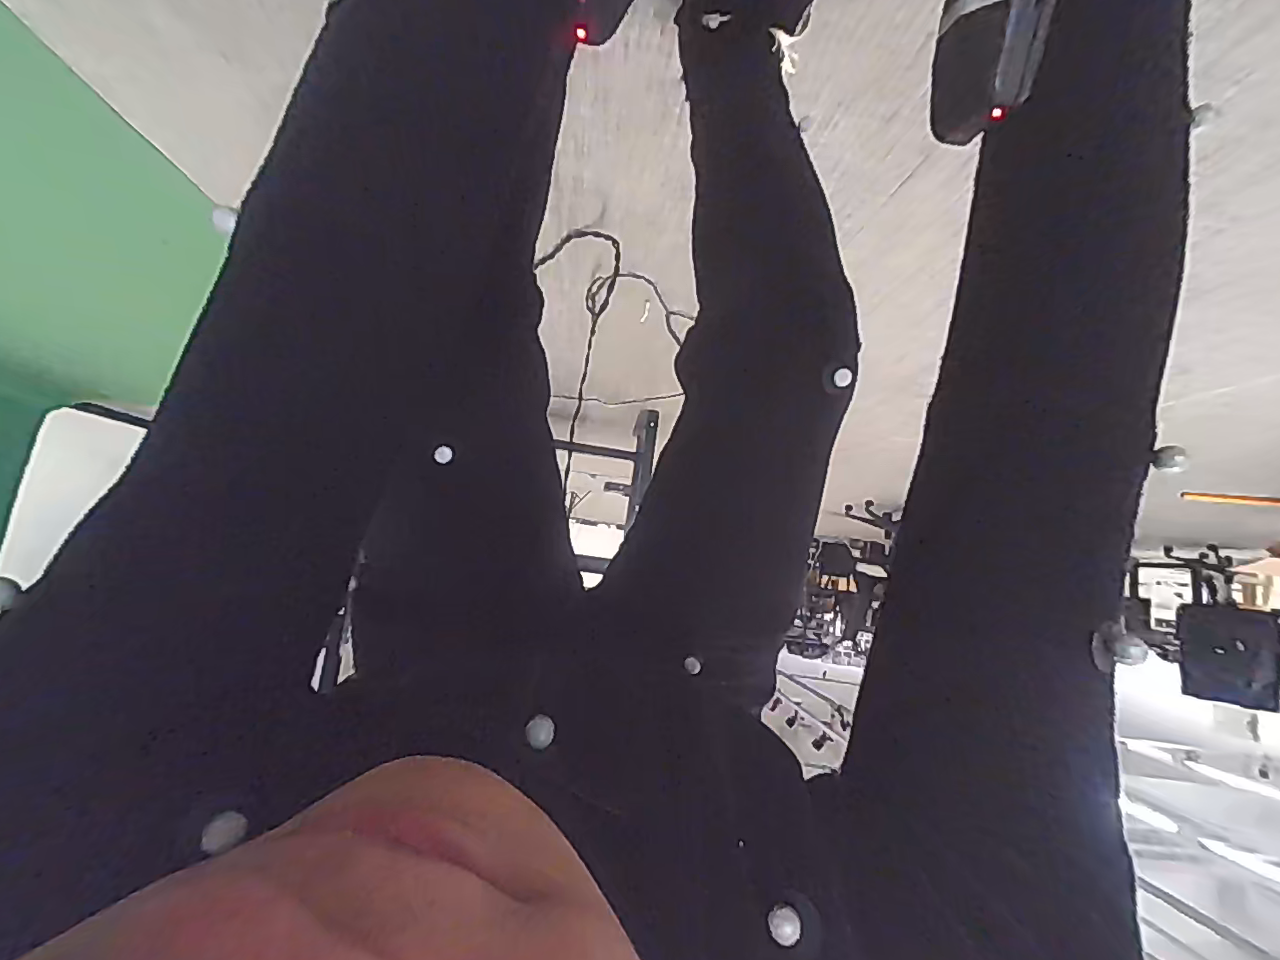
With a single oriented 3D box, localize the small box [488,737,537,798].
[{"bbox_3d":[-0.524,1.180,2.231,0.168,0.176,0.179,10,173,-7],"label":"small box"}]
